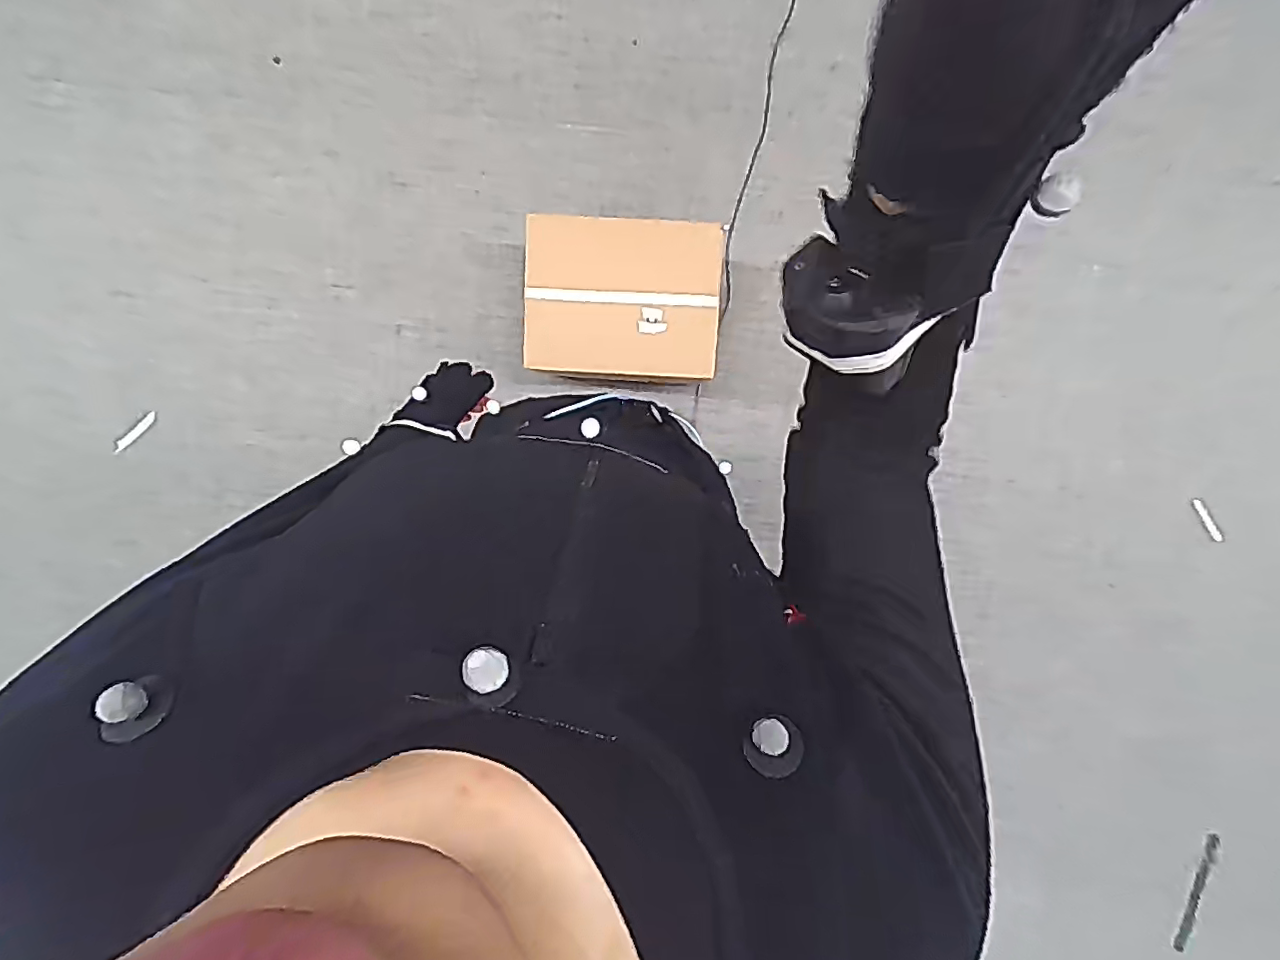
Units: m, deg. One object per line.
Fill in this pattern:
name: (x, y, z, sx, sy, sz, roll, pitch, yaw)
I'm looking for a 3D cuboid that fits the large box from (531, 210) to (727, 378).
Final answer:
large box: (-0.027, -0.412, 1.273, 0.408, 0.320, 0.320, 4, 99, 0)
